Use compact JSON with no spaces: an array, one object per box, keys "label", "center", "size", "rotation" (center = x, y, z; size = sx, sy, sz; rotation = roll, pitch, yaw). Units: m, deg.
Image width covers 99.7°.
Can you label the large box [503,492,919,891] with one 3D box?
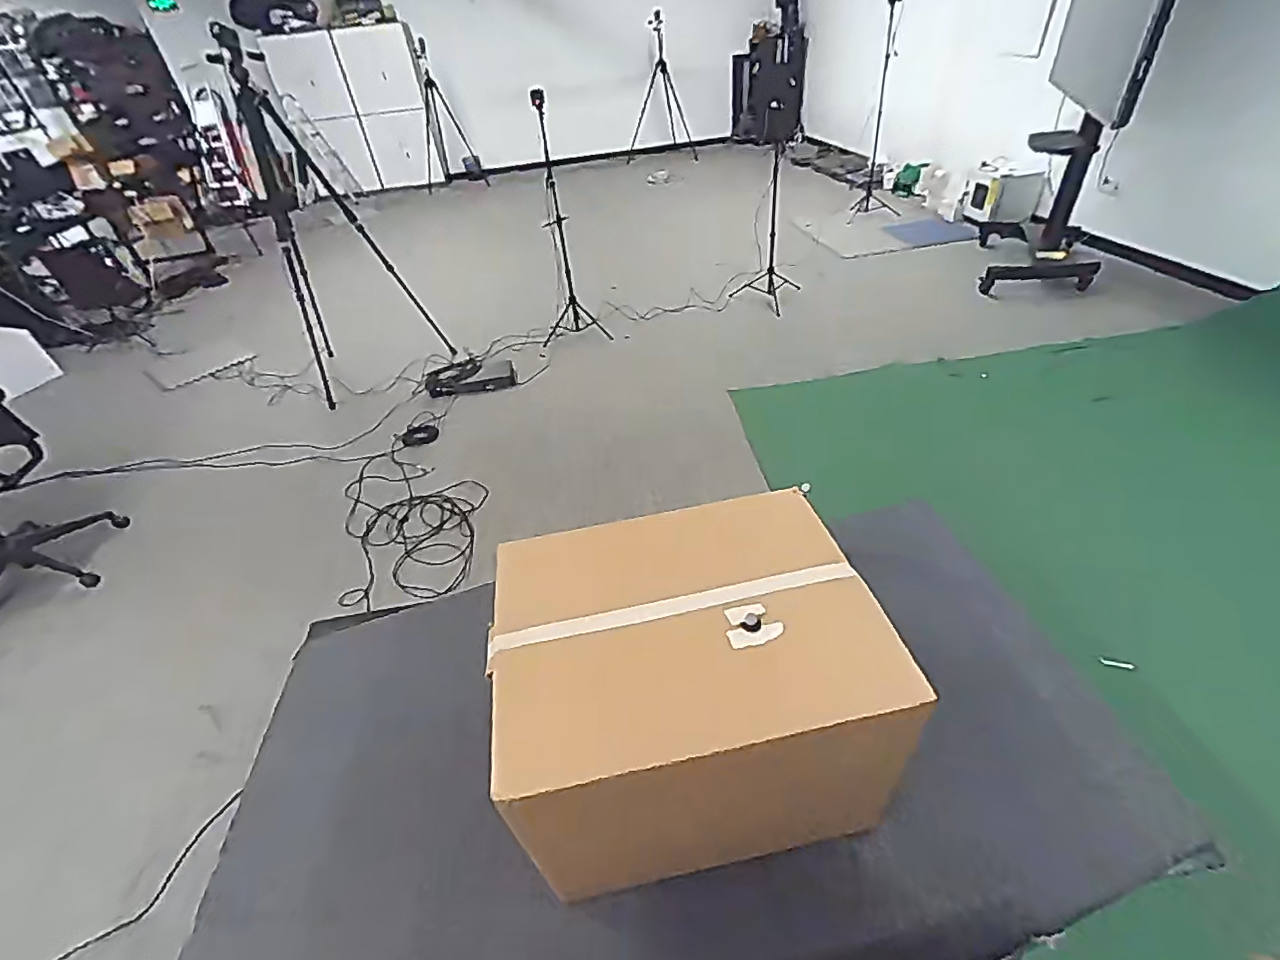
[{"label":"large box","center":[0.056,0.260,0.698],"size":[0.408,0.320,0.320],"rotation":[-10,40,-5]}]
